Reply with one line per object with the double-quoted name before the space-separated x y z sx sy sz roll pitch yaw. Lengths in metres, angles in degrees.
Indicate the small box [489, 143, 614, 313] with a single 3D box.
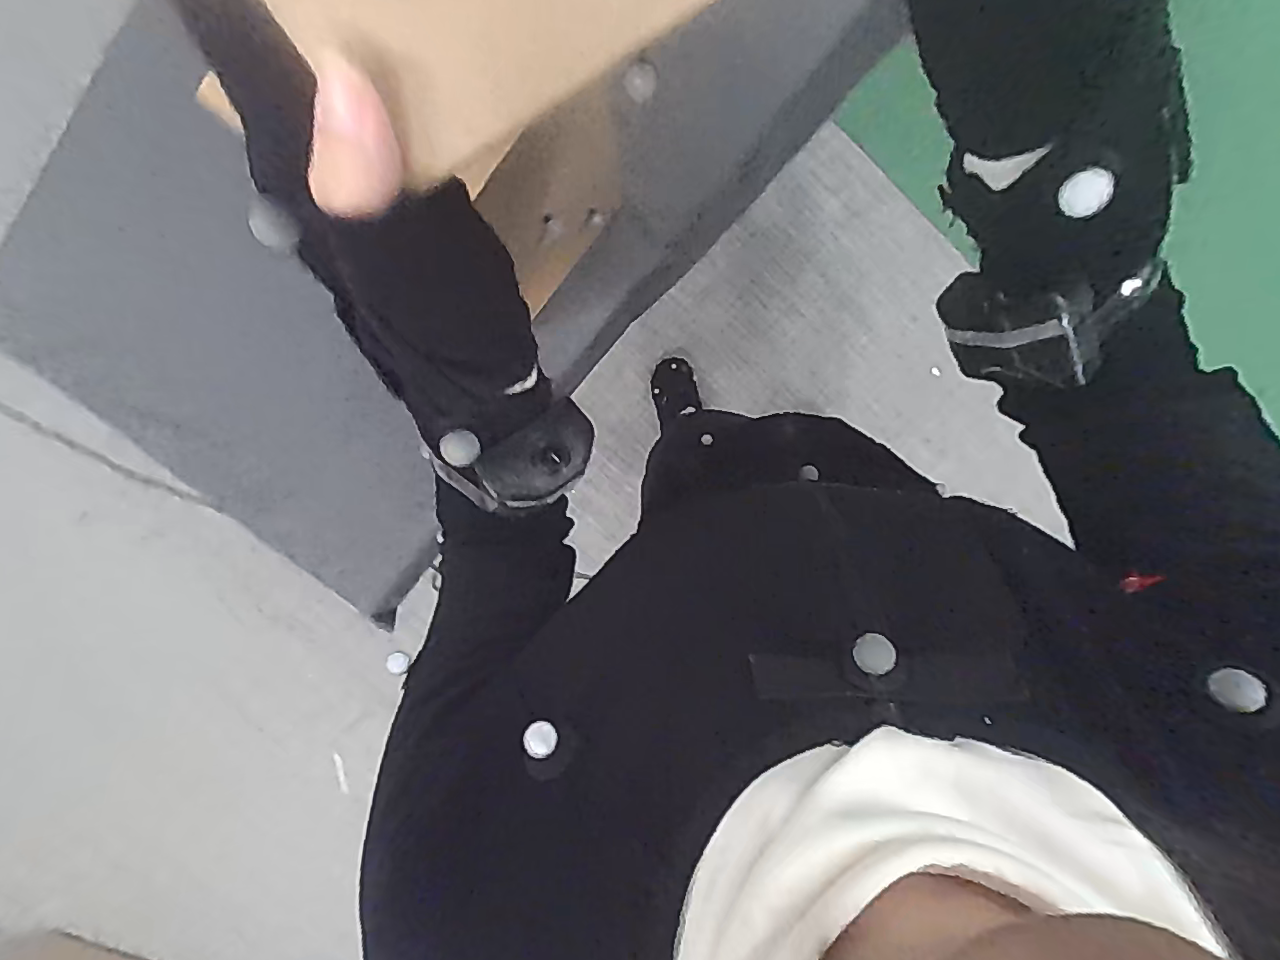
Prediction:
"small box" -0.140 -0.296 0.558 0.168 0.176 0.179 39 102 -6
